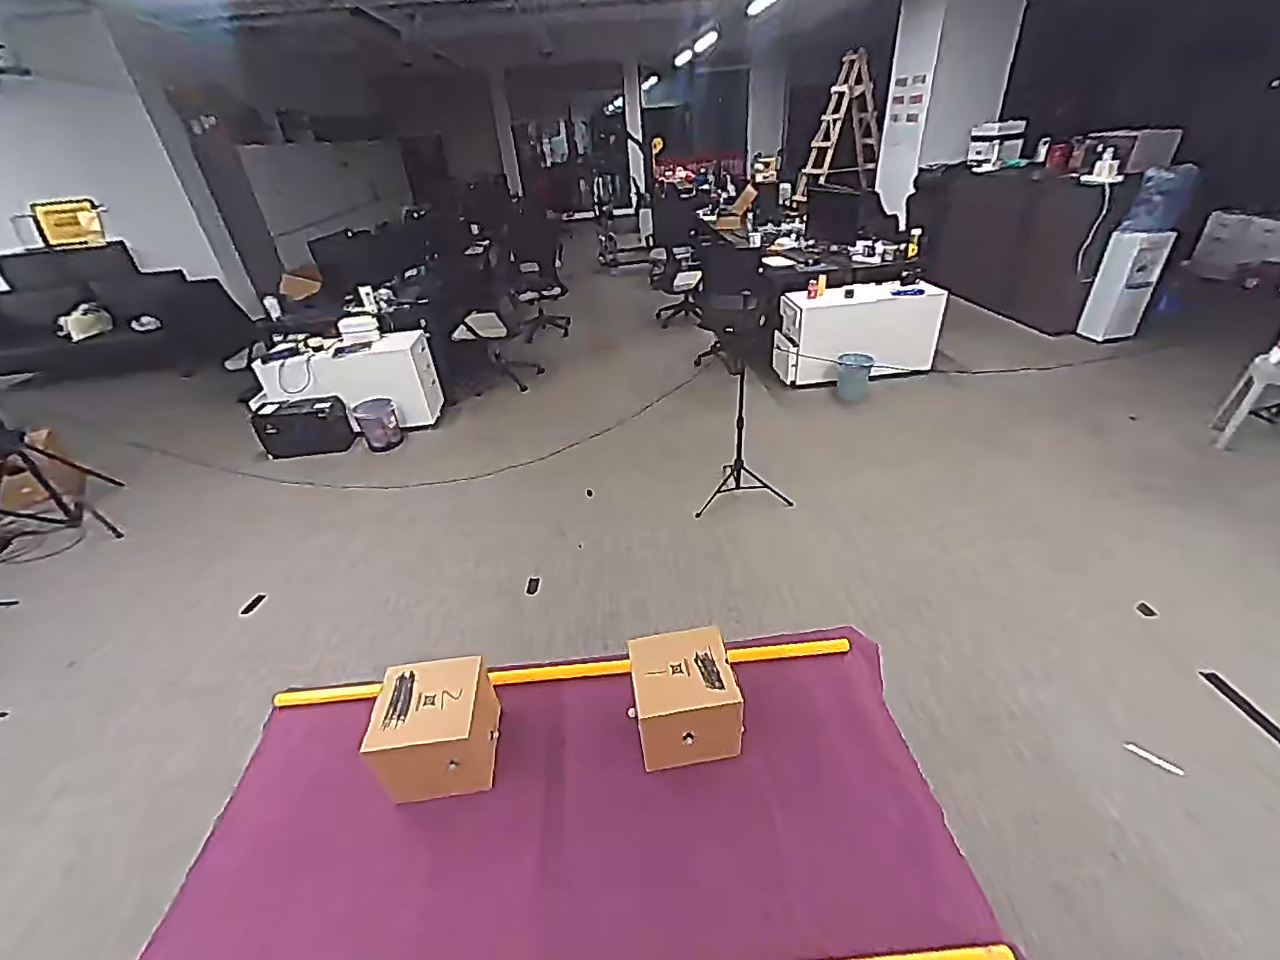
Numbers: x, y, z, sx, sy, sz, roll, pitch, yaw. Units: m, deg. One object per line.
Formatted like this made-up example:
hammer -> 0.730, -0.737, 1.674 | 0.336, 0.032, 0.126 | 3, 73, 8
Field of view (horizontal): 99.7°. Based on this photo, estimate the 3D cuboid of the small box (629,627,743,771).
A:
small box -> 0.079, 0.396, 0.979 | 0.179, 0.176, 0.168 | -9, 34, -3
